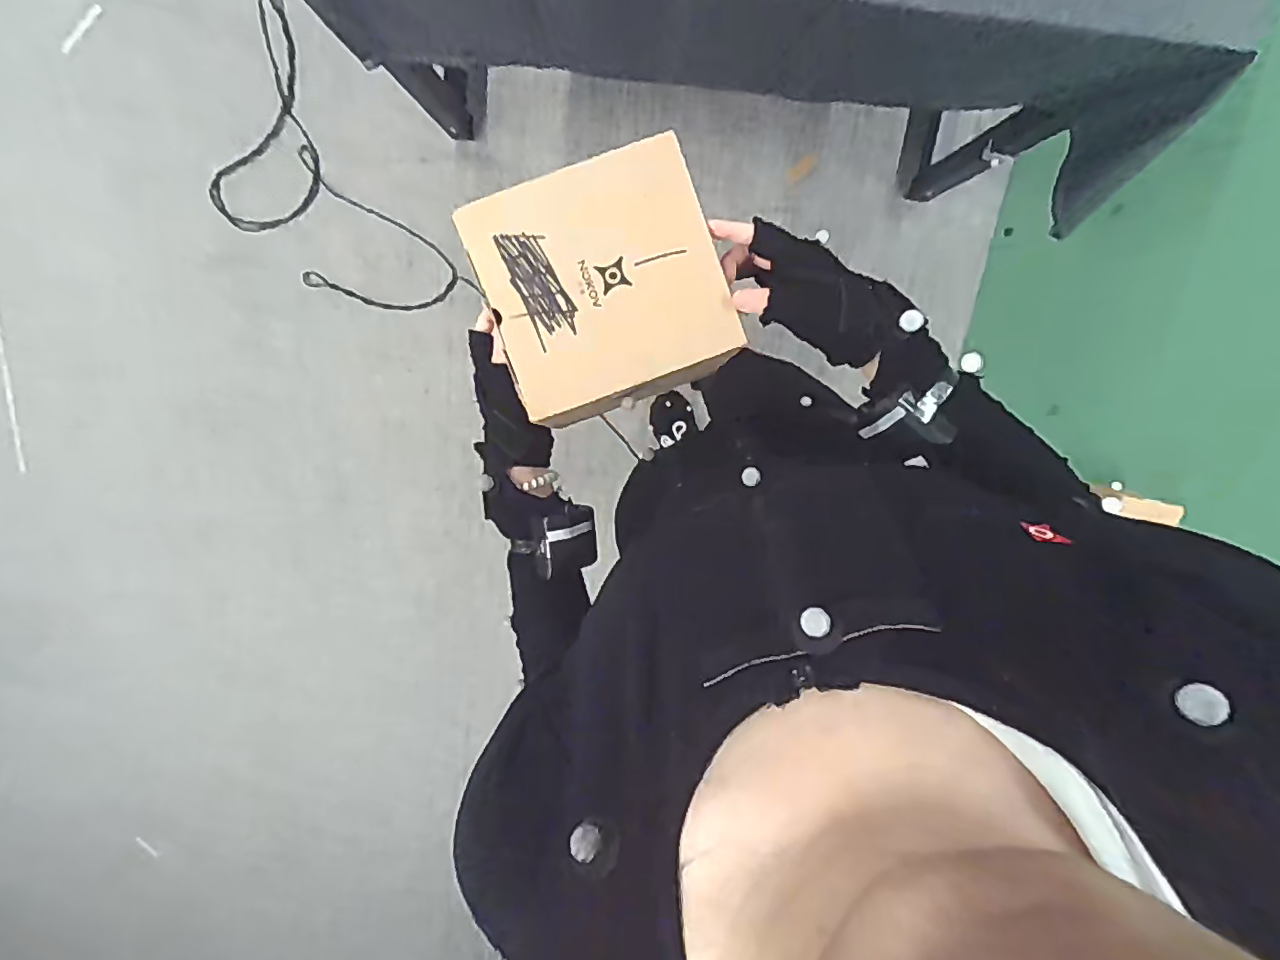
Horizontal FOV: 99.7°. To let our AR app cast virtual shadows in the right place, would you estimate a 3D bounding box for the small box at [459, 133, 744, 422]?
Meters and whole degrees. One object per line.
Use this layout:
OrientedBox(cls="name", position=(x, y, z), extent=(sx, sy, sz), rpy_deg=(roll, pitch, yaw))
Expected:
OrientedBox(cls="small box", position=(-0.029, -0.156, 0.482), extent=(0.179, 0.176, 0.168), rpy_deg=(-20, 94, 0))
